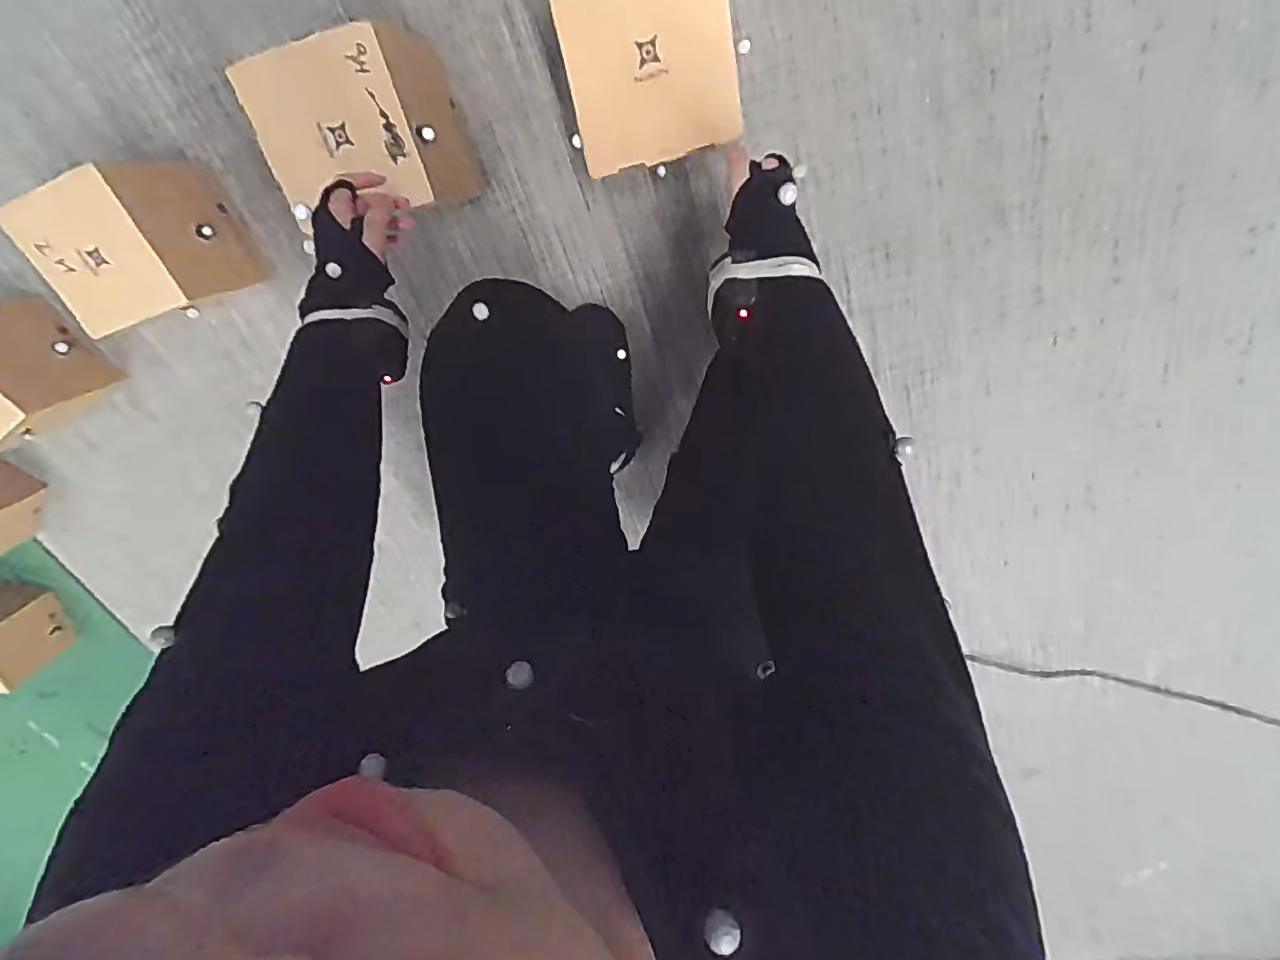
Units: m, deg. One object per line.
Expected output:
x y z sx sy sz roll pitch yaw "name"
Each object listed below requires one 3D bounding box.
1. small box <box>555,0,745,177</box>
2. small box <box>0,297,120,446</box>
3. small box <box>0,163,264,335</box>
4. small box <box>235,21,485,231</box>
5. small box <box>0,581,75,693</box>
0.019 -0.449 0.596 0.168 0.176 0.179 -8 119 11 "small box"
-1.015 -0.169 0.870 0.179 0.176 0.168 -25 114 18 "small box"
-0.669 -0.321 0.745 0.179 0.176 0.168 -13 117 13 "small box"
-0.317 -0.411 0.654 0.179 0.176 0.168 -8 119 11 "small box"
-1.463 0.347 1.219 0.179 0.176 0.168 8 121 2 "small box"
